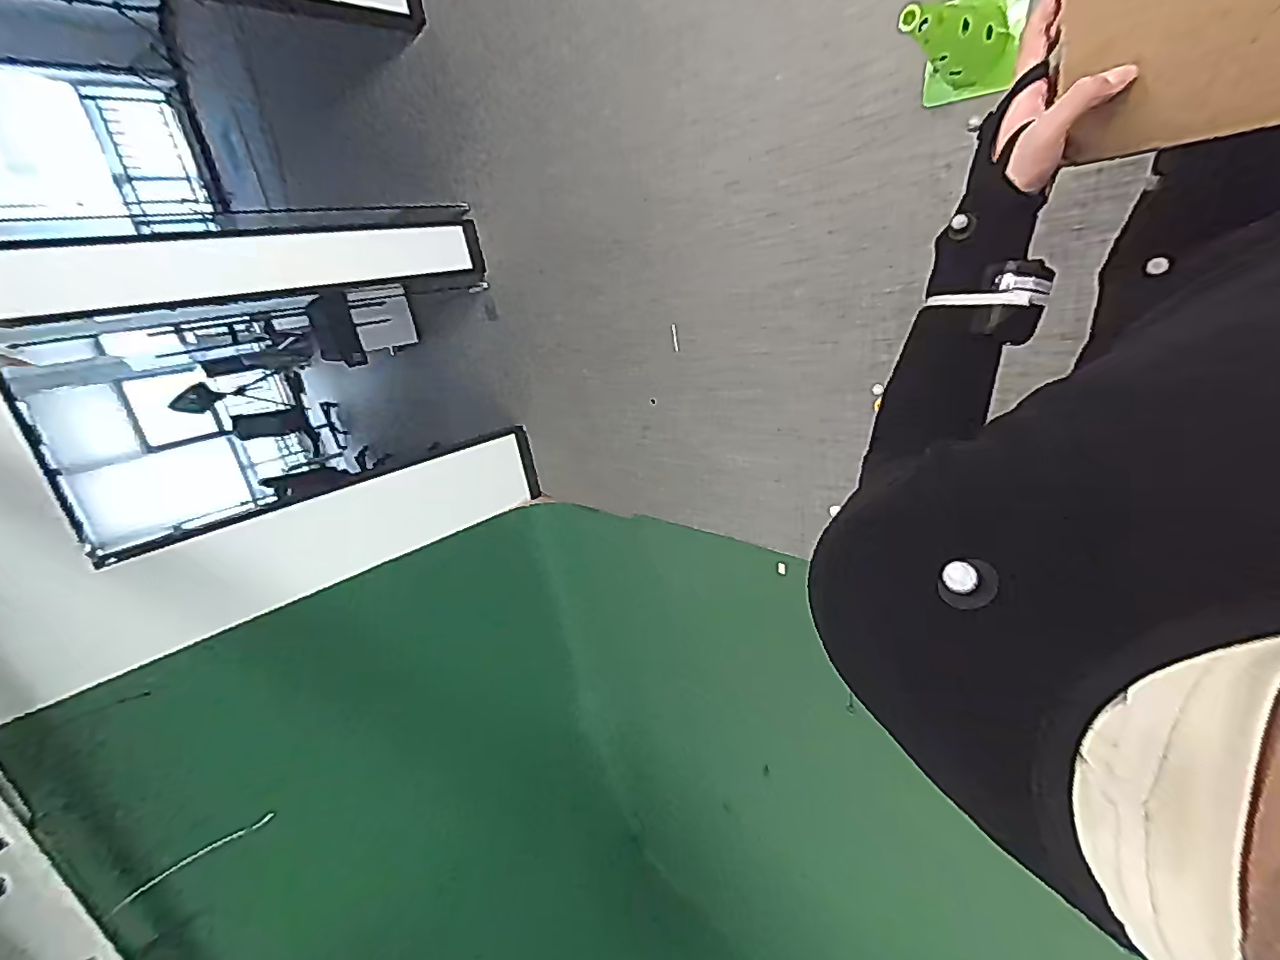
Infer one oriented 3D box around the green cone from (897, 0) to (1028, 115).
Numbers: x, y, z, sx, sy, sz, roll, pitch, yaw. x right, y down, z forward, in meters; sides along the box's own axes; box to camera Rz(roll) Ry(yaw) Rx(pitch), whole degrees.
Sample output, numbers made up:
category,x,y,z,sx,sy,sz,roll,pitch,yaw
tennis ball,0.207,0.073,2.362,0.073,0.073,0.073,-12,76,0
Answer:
category,x,y,z,sx,sy,sz,roll,pitch,yaw
green cone,0.638,-0.916,1.141,0.200,0.368,0.202,18,124,44
